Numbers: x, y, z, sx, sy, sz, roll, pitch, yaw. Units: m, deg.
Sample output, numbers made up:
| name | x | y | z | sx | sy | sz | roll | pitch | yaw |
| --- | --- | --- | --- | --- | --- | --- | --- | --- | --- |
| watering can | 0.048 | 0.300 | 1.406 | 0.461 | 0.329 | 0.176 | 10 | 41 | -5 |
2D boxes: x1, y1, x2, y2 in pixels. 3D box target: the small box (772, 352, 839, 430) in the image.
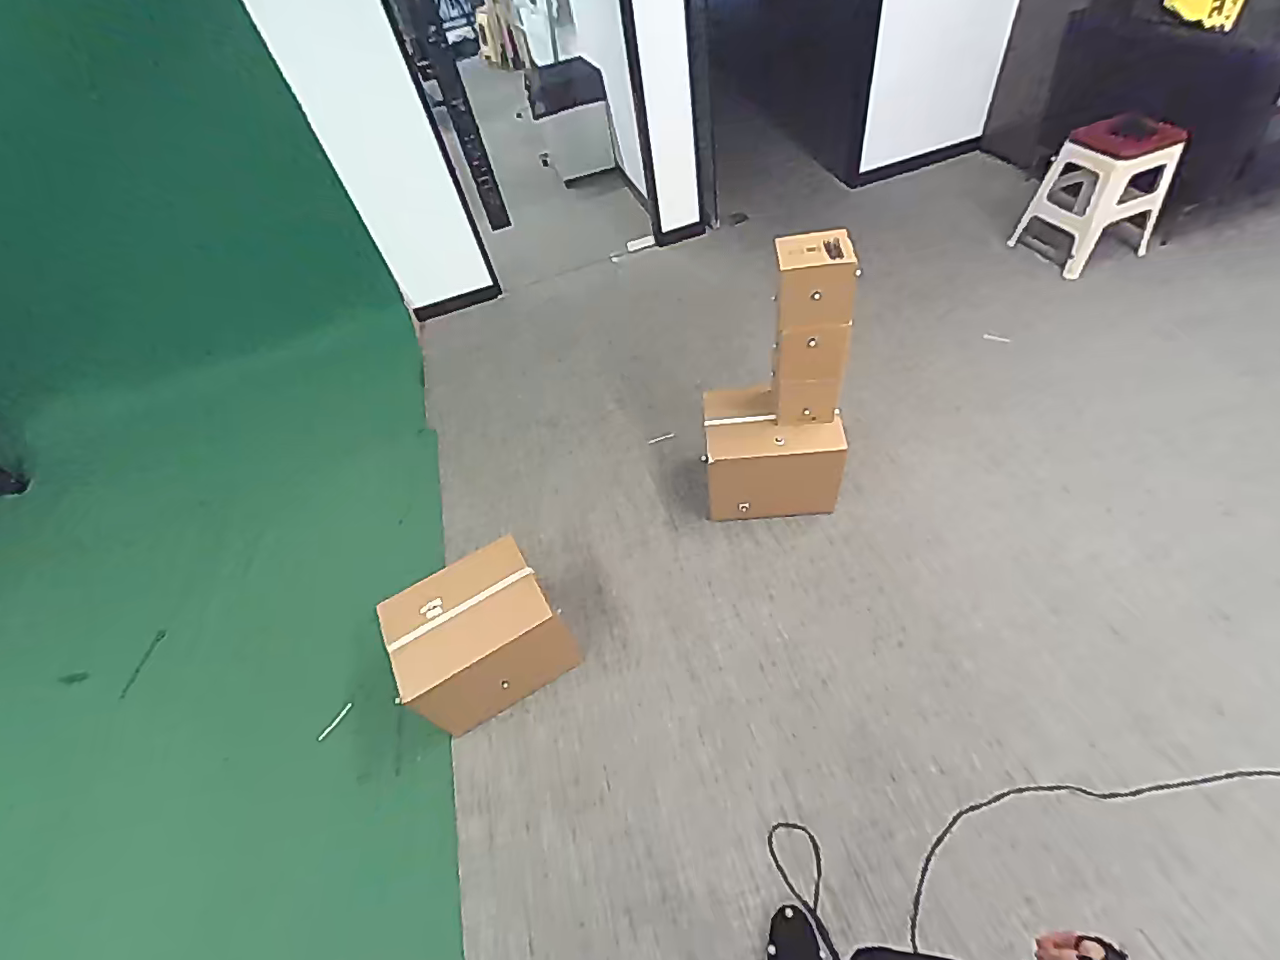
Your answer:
| name | x | y | z | sx | sy | sz | roll | pitch | yaw |
| --- | --- | --- | --- | --- | --- | --- | --- | --- | --- |
| small box | 0.486 | -0.270 | 1.611 | 0.168 | 0.176 | 0.179 | -4 | 48 | 9 |

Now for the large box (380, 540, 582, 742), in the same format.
| name | x | y | z | sx | sy | sz | roll | pitch | yaw |
| --- | --- | --- | --- | --- | --- | --- | --- | --- | --- |
| large box | -0.430 | 0.447 | 1.511 | 0.408 | 0.320 | 0.320 | -29 | 50 | -12 |

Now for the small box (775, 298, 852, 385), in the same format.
| name | x | y | z | sx | sy | sz | roll | pitch | yaw |
| --- | --- | --- | --- | --- | --- | --- | --- | --- | --- |
| small box | 0.469 | -0.378 | 1.491 | 0.179 | 0.176 | 0.168 | -3 | 48 | 10 |
